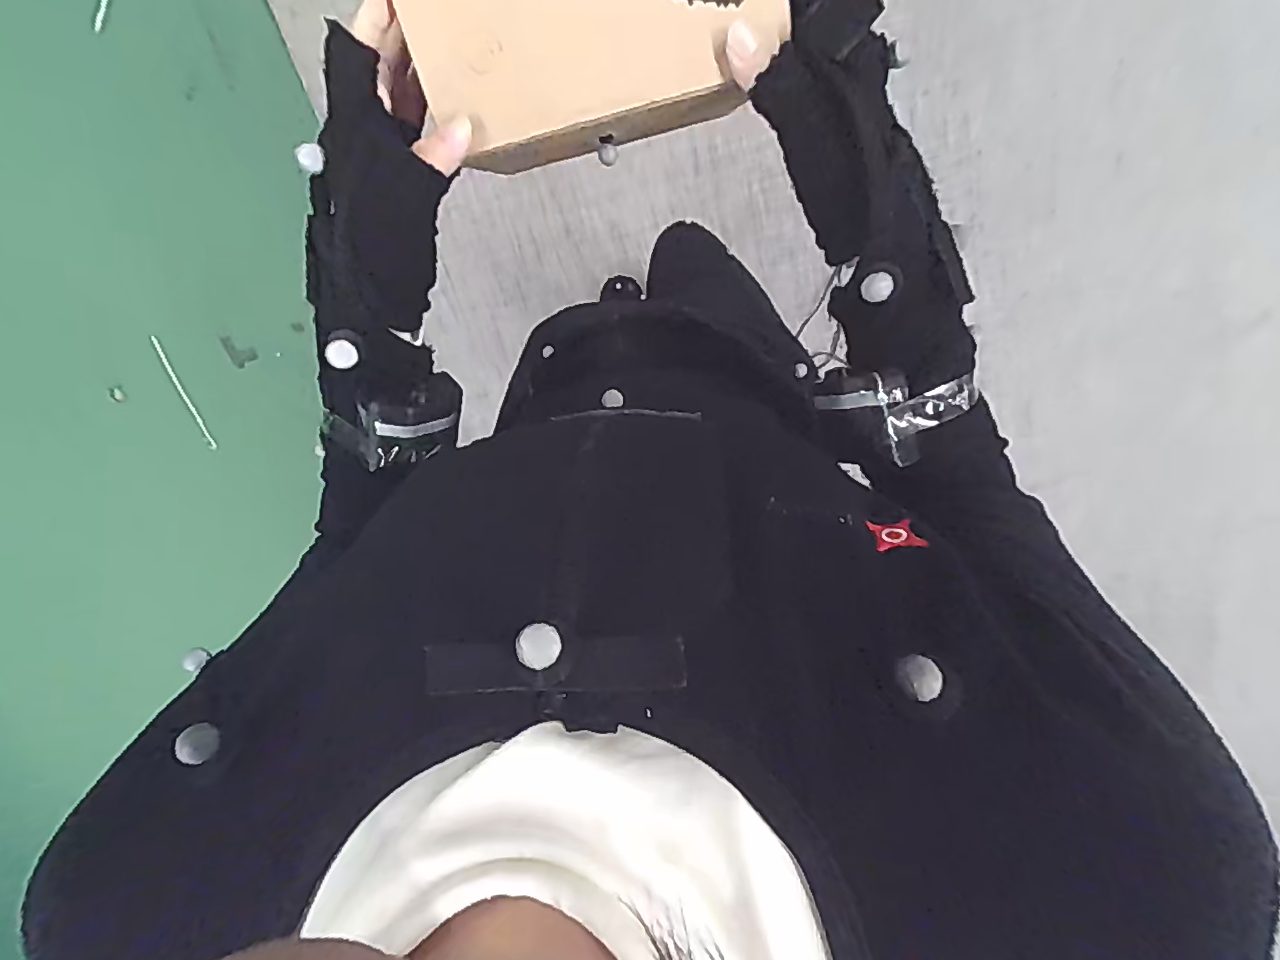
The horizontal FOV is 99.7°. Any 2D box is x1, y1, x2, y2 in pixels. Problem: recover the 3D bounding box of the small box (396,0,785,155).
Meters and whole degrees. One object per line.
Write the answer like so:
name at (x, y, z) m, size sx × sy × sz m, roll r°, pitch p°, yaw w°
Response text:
small box at (-0.032, -0.292, 0.295) m, size 0.179 × 0.176 × 0.168 m, roll -10°, pitch 115°, yaw 4°
